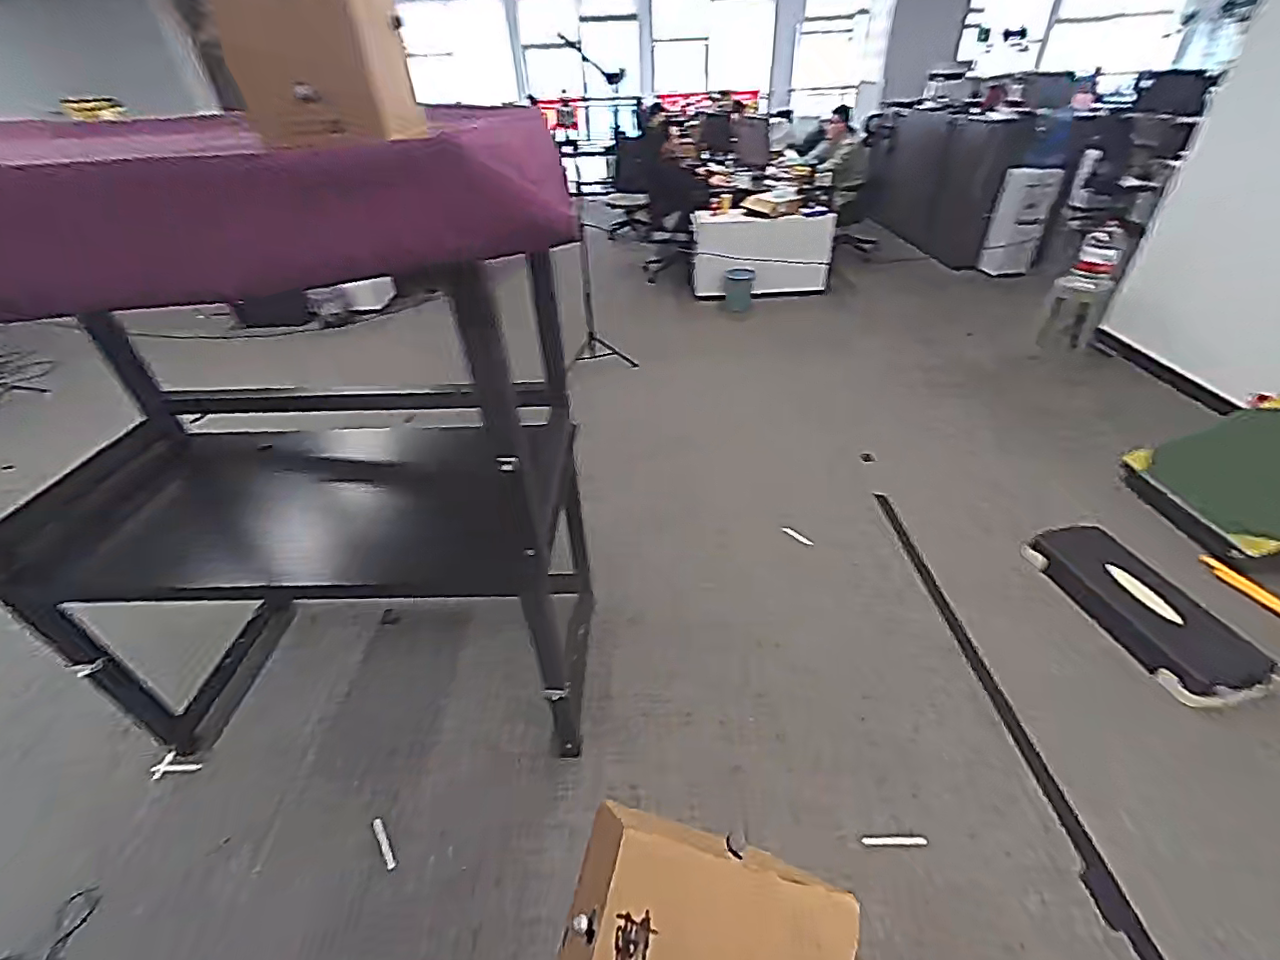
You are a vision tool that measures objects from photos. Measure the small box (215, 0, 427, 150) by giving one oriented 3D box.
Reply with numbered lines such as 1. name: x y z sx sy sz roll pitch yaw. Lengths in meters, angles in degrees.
1. small box: -0.395 -0.533 0.702 0.168 0.176 0.179 -4 36 1

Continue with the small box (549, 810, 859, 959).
1. small box: 0.032 0.363 0.401 0.179 0.176 0.168 19 62 -3
